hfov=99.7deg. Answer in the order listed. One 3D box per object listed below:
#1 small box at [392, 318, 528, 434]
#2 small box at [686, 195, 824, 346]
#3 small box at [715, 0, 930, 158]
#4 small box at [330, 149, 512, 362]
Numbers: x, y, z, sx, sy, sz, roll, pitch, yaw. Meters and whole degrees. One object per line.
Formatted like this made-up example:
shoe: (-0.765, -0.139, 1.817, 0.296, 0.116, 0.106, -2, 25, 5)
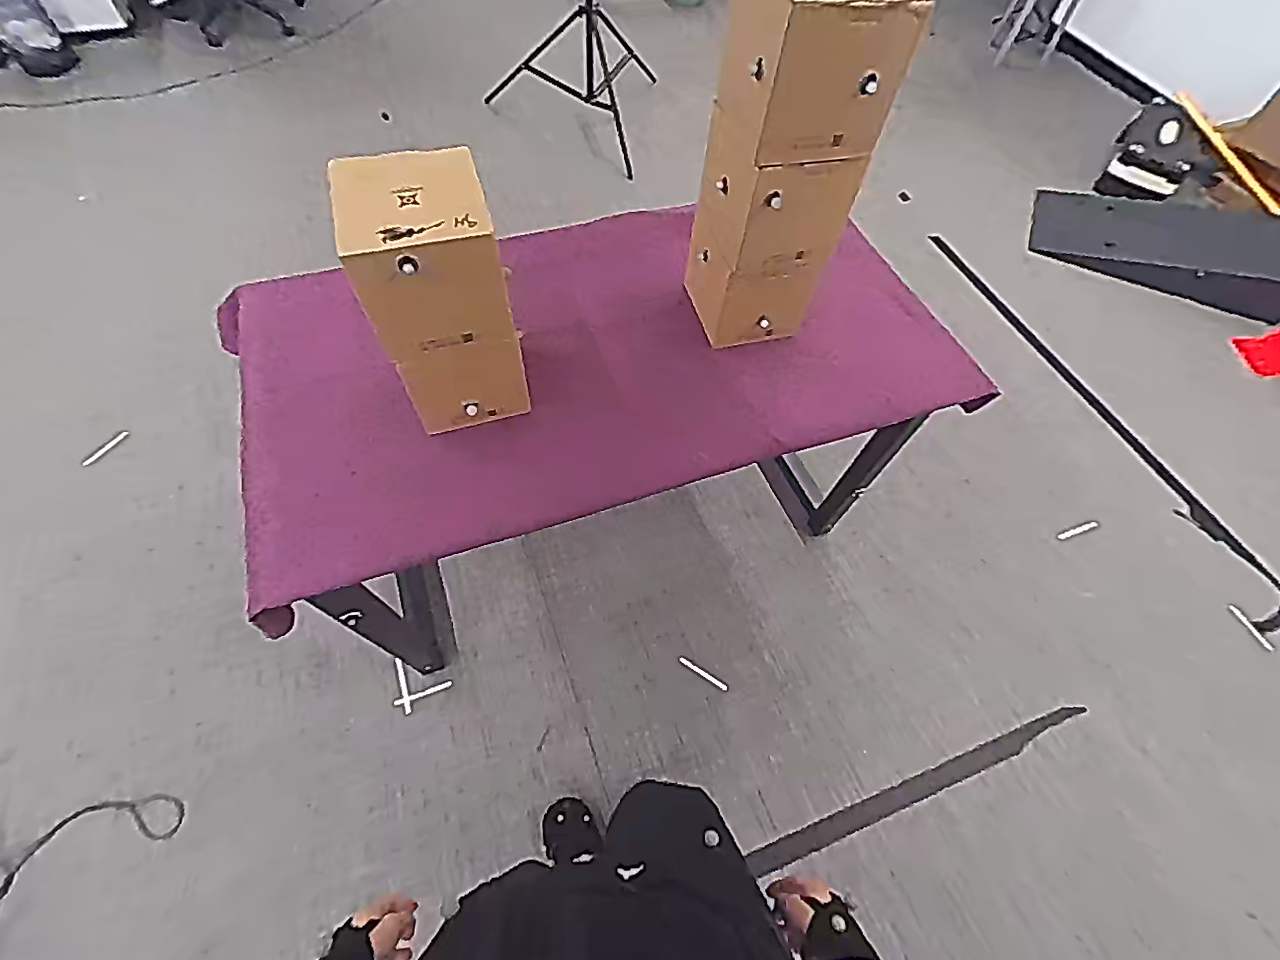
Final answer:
small box: (-0.276, -0.199, 0.825, 0.168, 0.176, 0.179, -16, 63, -12)
small box: (0.188, -0.364, 0.949, 0.168, 0.176, 0.179, -12, 62, -9)
small box: (0.204, -0.519, 0.662, 0.168, 0.176, 0.179, -10, 60, -10)
small box: (-0.268, -0.279, 0.682, 0.168, 0.176, 0.179, -15, 62, -12)
